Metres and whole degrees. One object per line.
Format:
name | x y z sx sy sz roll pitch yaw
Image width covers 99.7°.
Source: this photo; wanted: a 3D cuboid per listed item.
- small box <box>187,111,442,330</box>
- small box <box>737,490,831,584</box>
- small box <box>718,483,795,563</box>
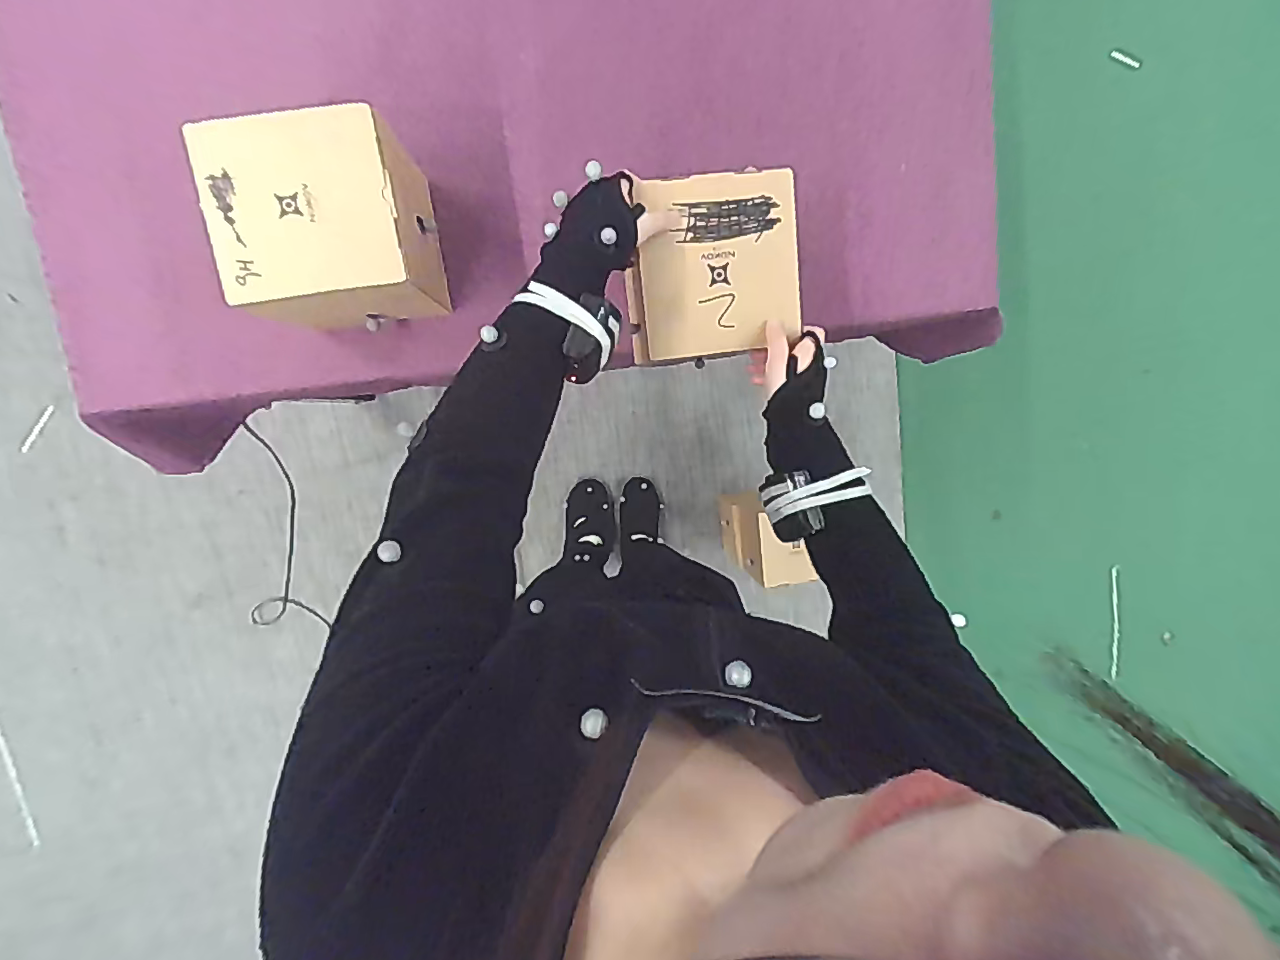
small box | -0.331 -0.269 0.596 0.179 0.176 0.168 -10 98 -5
small box | 0.337 0.130 1.285 0.168 0.176 0.179 -7 98 -6
small box | 0.313 0.110 1.446 0.179 0.176 0.168 -10 99 -4
